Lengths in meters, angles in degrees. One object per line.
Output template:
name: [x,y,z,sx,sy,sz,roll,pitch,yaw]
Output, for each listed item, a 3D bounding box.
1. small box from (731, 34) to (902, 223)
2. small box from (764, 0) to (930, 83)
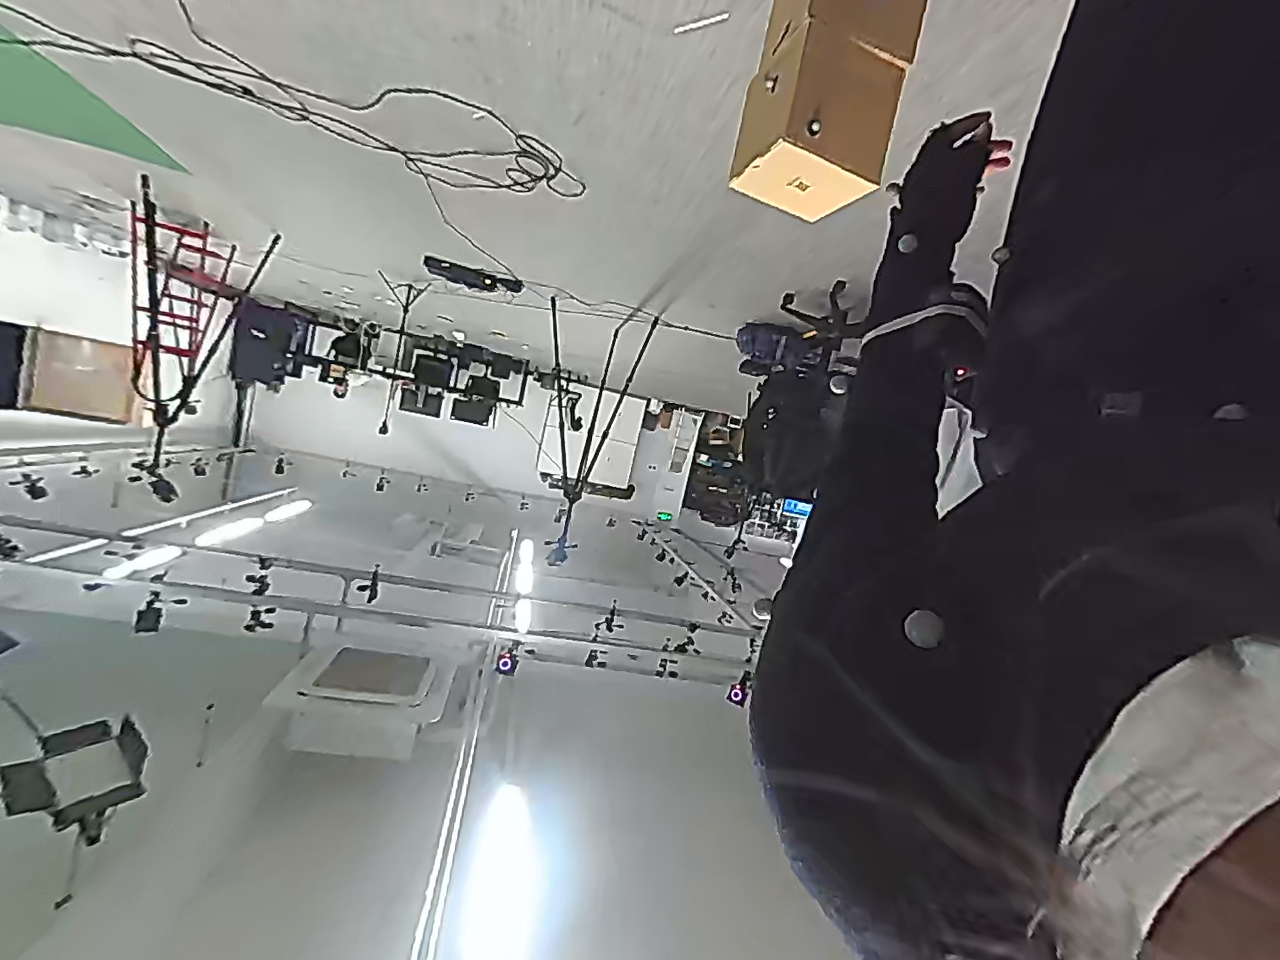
small box: [0.273,-0.537,0.846,0.179,0.176,0.168,12,-176,-20]
small box: [0.312,-0.694,0.829,0.179,0.176,0.168,11,-176,-15]
